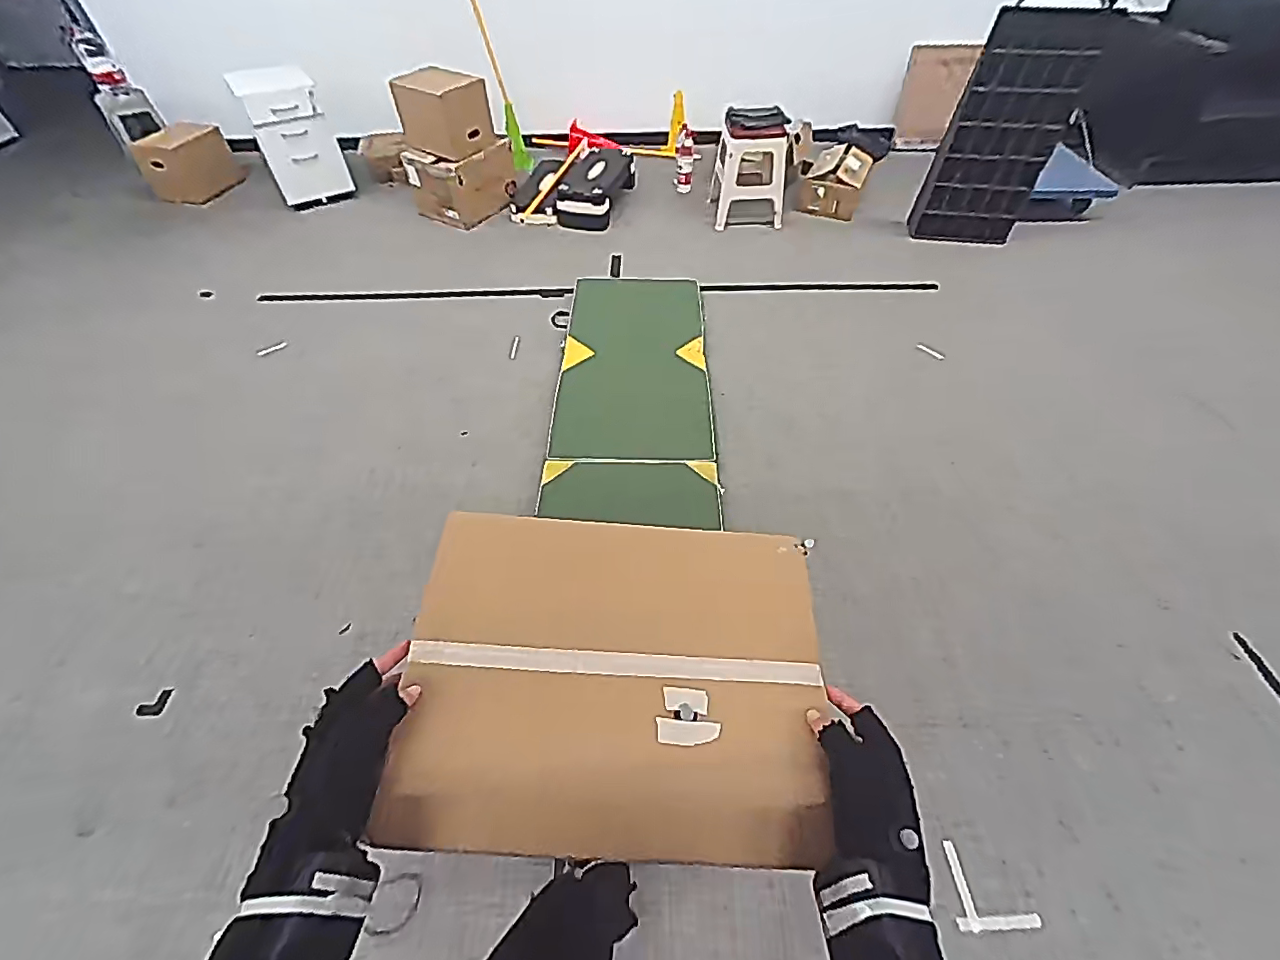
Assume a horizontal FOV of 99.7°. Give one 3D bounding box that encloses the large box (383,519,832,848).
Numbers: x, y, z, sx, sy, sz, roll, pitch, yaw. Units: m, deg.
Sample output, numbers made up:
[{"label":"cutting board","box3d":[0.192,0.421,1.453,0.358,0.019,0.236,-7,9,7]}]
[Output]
[{"label":"large box","box3d":[-0.035,0.268,0.675,0.408,0.320,0.320,5,56,-3]}]
